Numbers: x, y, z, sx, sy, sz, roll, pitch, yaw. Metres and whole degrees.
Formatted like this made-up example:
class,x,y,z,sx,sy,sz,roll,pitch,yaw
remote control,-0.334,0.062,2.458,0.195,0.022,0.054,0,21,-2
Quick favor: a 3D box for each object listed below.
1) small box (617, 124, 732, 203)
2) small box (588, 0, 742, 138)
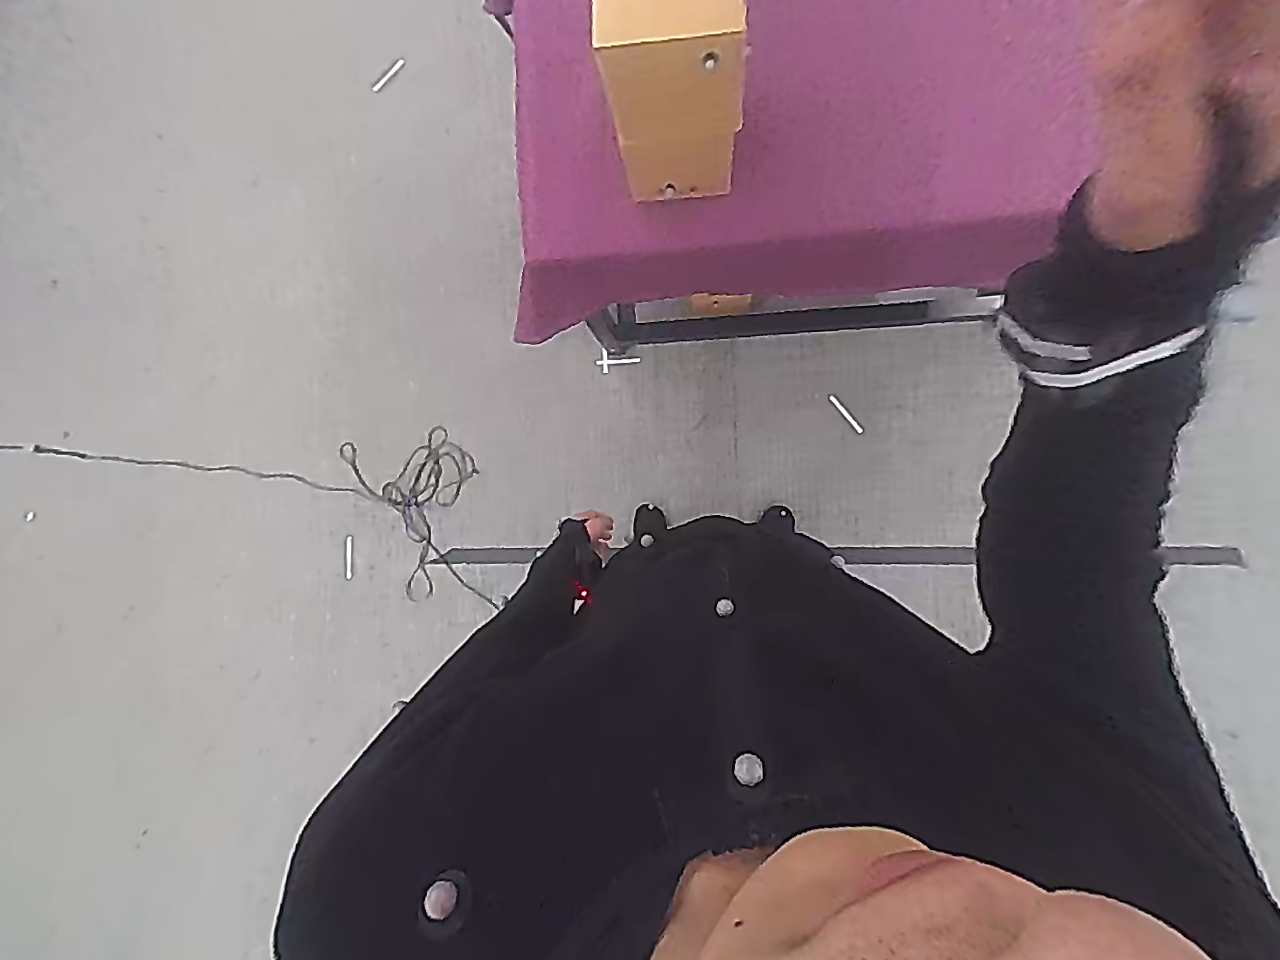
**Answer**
class,x,y,z,sx,sy,sz,roll,pitch,yaw
small box,0.057,-0.567,0.844,0.168,0.176,0.179,-1,89,8
small box,0.039,-0.565,0.683,0.179,0.176,0.168,0,89,8
